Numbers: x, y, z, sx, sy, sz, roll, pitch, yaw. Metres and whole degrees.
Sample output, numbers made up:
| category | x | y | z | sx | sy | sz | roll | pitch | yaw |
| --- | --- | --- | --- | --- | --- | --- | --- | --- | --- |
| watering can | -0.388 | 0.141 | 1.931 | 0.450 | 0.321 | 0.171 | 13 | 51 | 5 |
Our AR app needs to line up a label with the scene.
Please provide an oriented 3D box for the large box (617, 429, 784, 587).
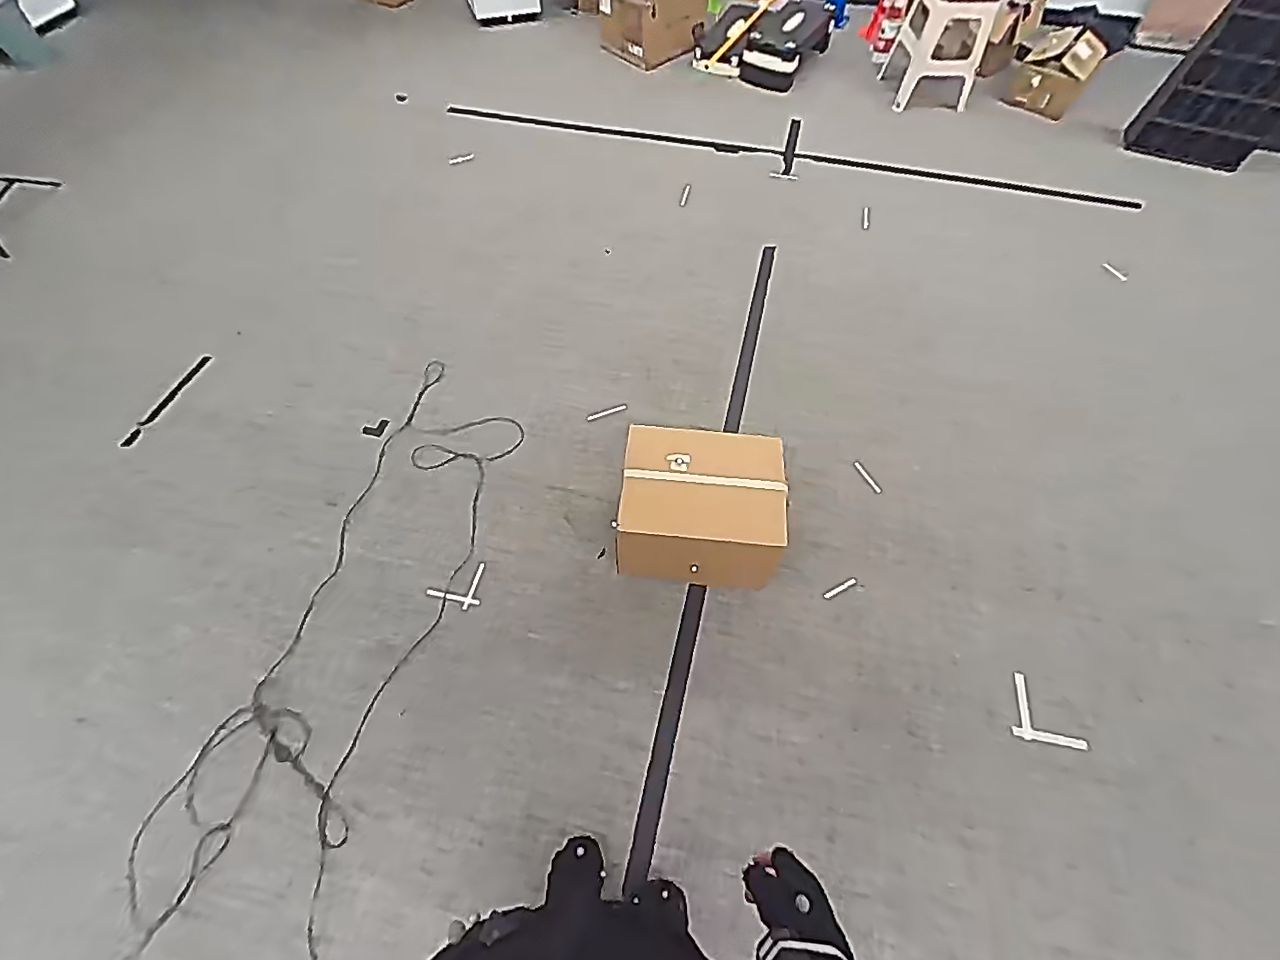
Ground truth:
| category | x | y | z | sx | sy | sz | roll | pitch | yaw |
| --- | --- | --- | --- | --- | --- | --- | --- | --- | --- |
| large box | 0.157 | 0.086 | 1.476 | 0.408 | 0.320 | 0.320 | 5 | 59 | 3 |
